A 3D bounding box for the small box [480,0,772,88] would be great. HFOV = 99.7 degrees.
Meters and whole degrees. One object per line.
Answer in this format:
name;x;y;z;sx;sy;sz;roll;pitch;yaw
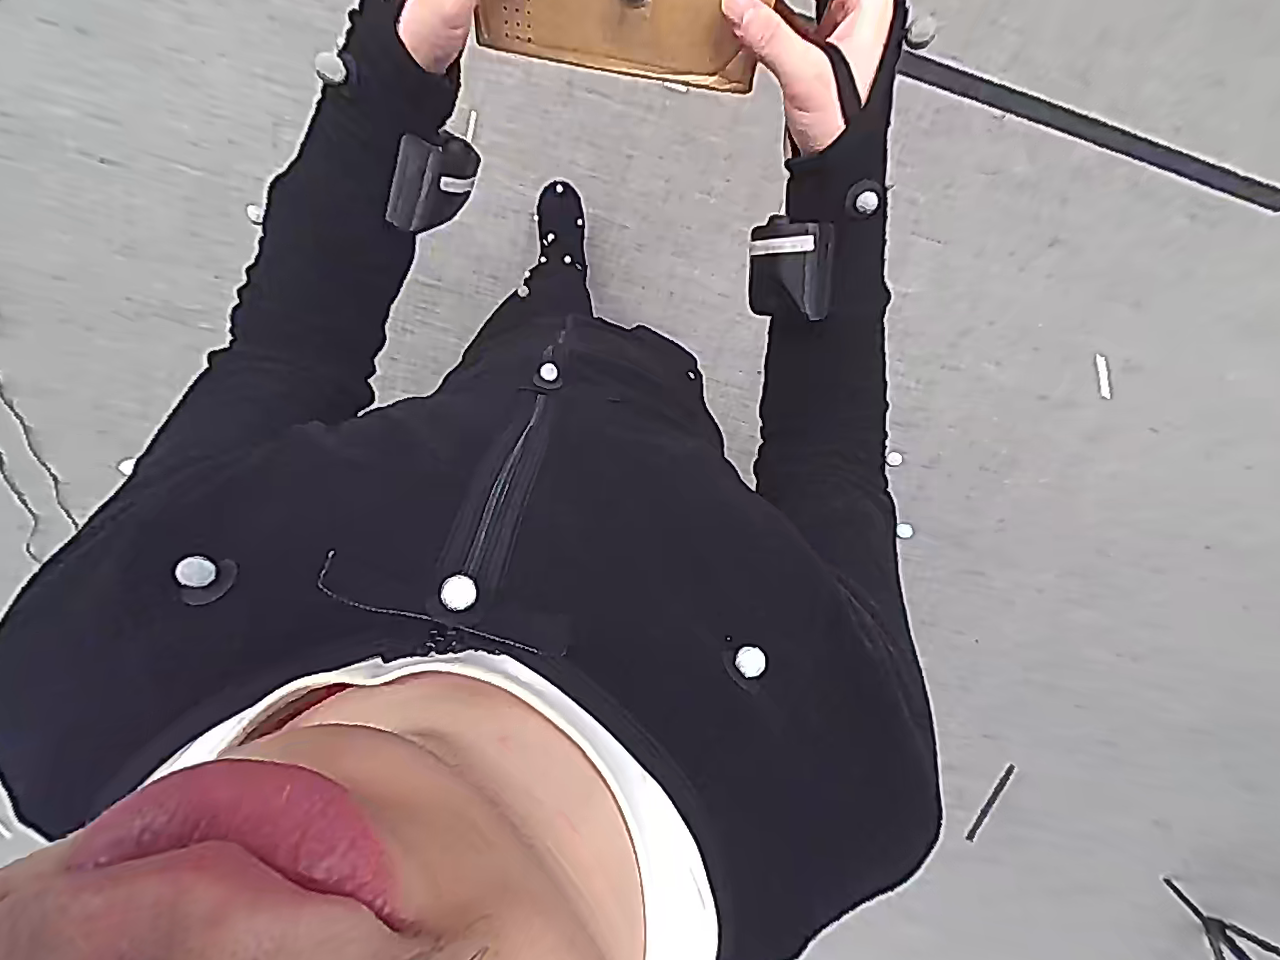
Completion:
small box;0.001;-0.363;0.300;0.176;0.179;0.168;7;151;-7
